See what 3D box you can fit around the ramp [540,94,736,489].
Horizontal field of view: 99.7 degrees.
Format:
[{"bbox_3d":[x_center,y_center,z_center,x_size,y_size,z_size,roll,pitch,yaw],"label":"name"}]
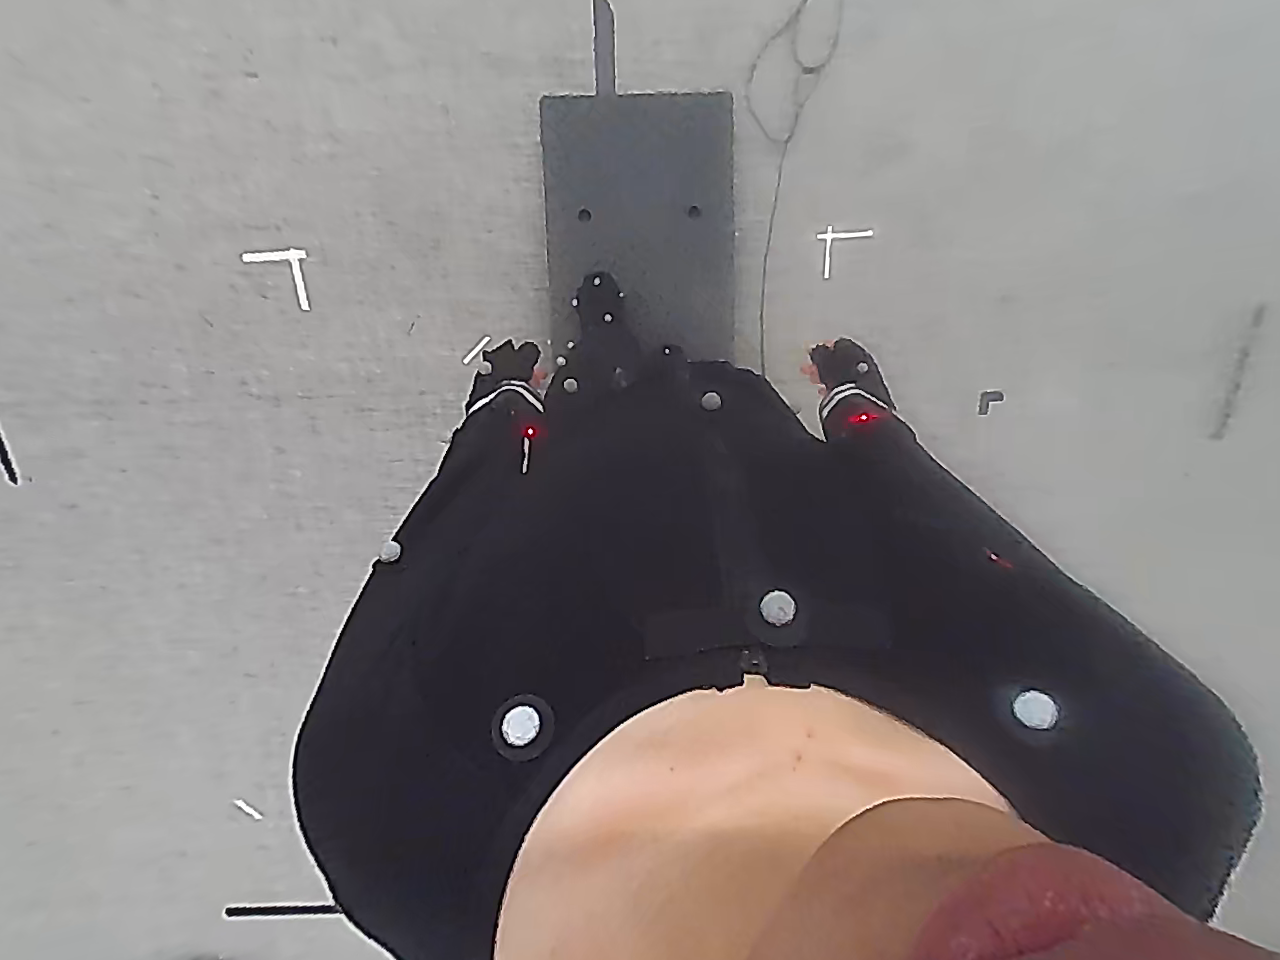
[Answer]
[{"bbox_3d":[0.003,-0.476,1.433,0.509,0.206,0.991,-3,107,1],"label":"ramp"}]
